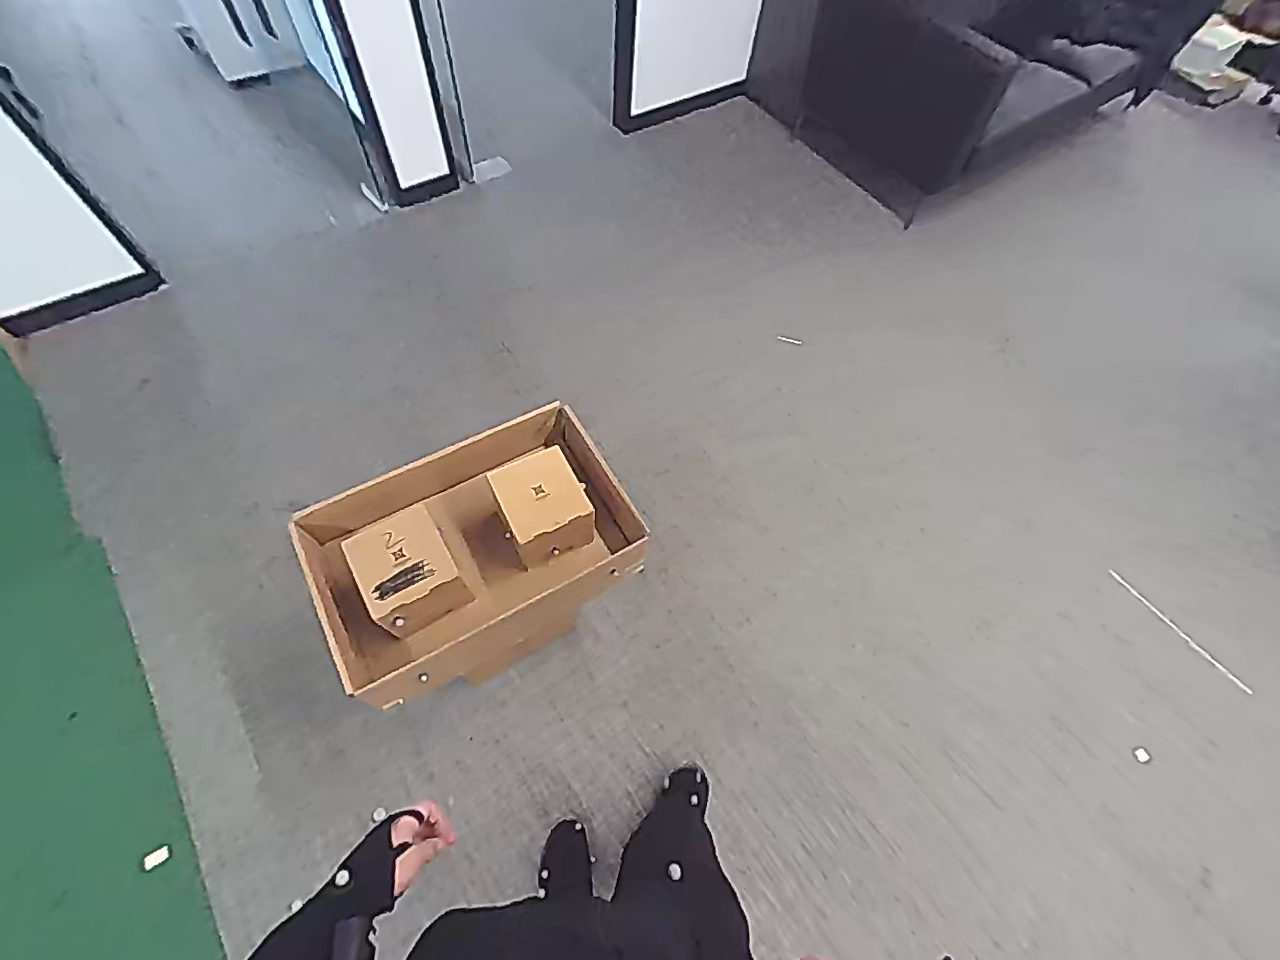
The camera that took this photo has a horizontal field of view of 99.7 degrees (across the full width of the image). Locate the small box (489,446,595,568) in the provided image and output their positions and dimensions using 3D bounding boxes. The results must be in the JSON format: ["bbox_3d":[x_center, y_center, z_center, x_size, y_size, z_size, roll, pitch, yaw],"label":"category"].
[{"bbox_3d":[-0.210,0.062,1.169,0.168,0.176,0.179,-24,67,-18],"label":"small box"}]
